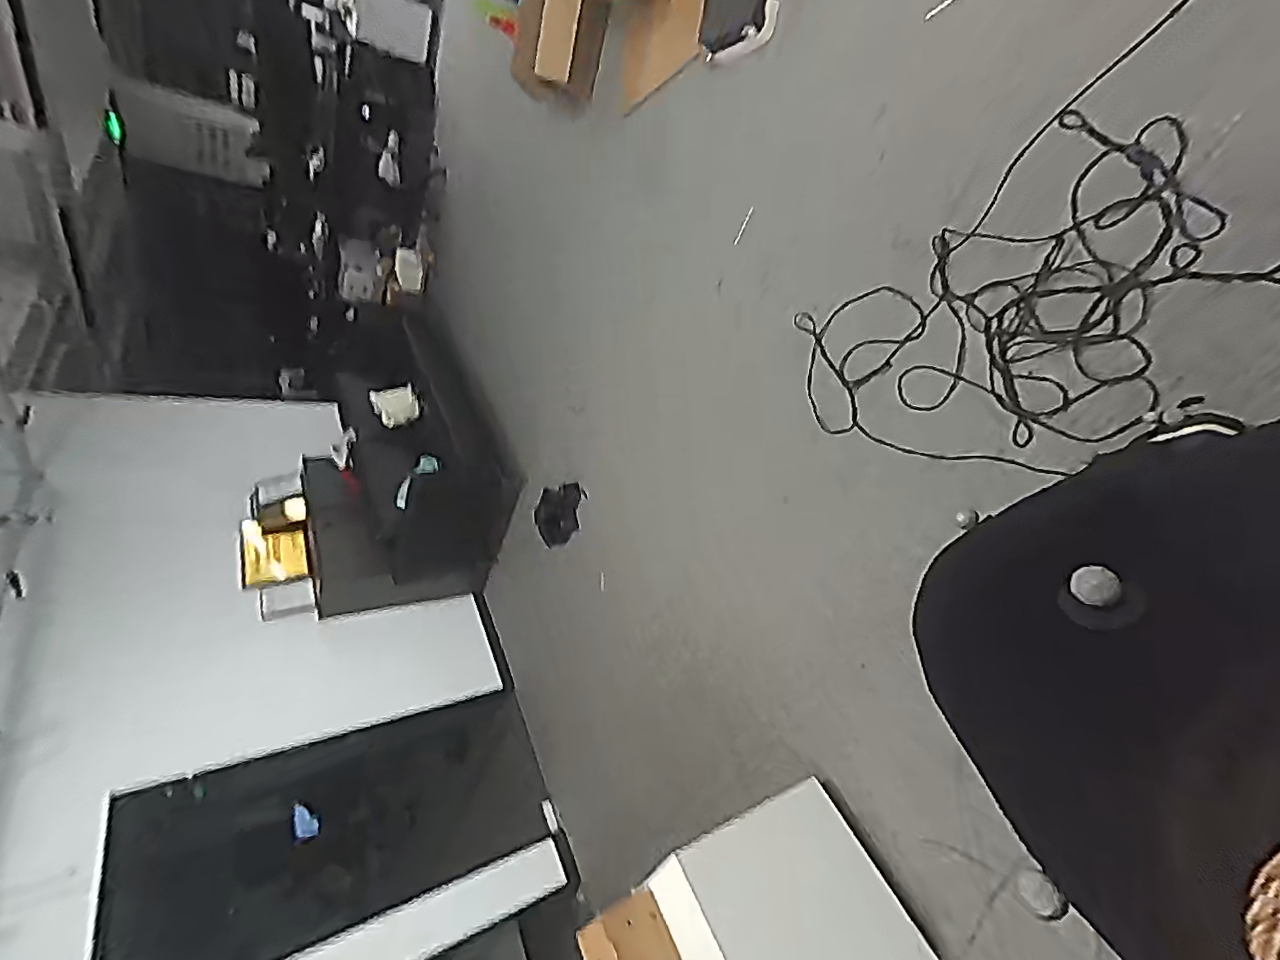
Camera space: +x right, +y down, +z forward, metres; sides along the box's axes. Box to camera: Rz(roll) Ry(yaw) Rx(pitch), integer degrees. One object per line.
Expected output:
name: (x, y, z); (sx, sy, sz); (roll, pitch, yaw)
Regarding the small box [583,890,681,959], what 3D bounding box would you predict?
small box: (-0.018, 1.194, 1.378); (0.168, 0.176, 0.179); (54, 134, 38)
